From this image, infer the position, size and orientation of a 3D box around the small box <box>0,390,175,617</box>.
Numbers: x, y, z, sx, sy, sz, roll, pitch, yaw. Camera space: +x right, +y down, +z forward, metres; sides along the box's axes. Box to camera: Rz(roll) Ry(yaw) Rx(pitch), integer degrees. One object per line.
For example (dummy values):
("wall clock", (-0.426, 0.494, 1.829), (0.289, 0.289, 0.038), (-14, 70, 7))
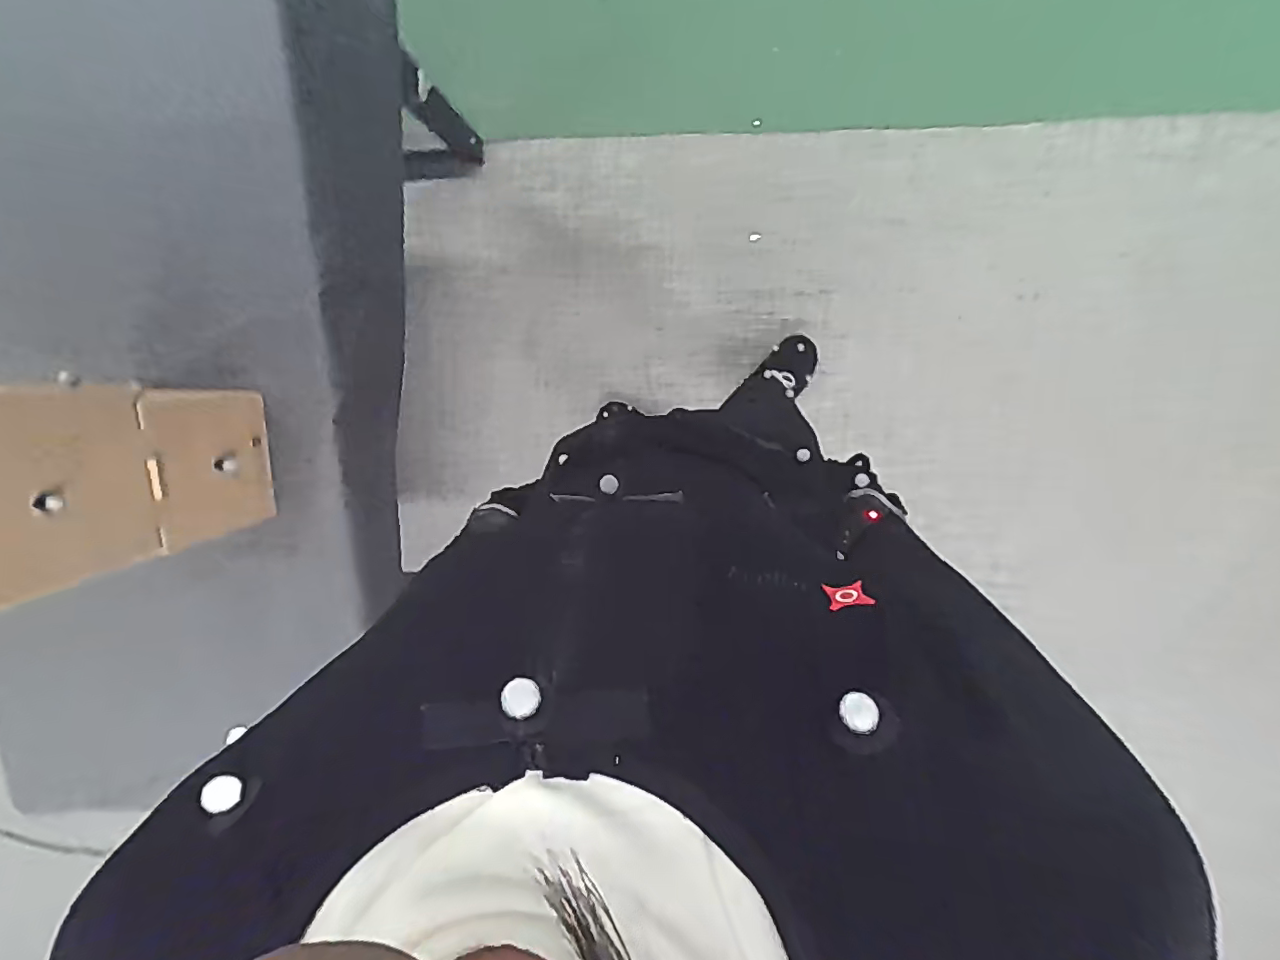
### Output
("small box", (-0.582, 0.009, 0.490), (0.168, 0.176, 0.179), (0, 103, 6))

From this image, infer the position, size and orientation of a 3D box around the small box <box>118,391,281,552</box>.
("small box", (-0.570, -0.019, 0.653), (0.179, 0.176, 0.168), (0, 102, 5))
